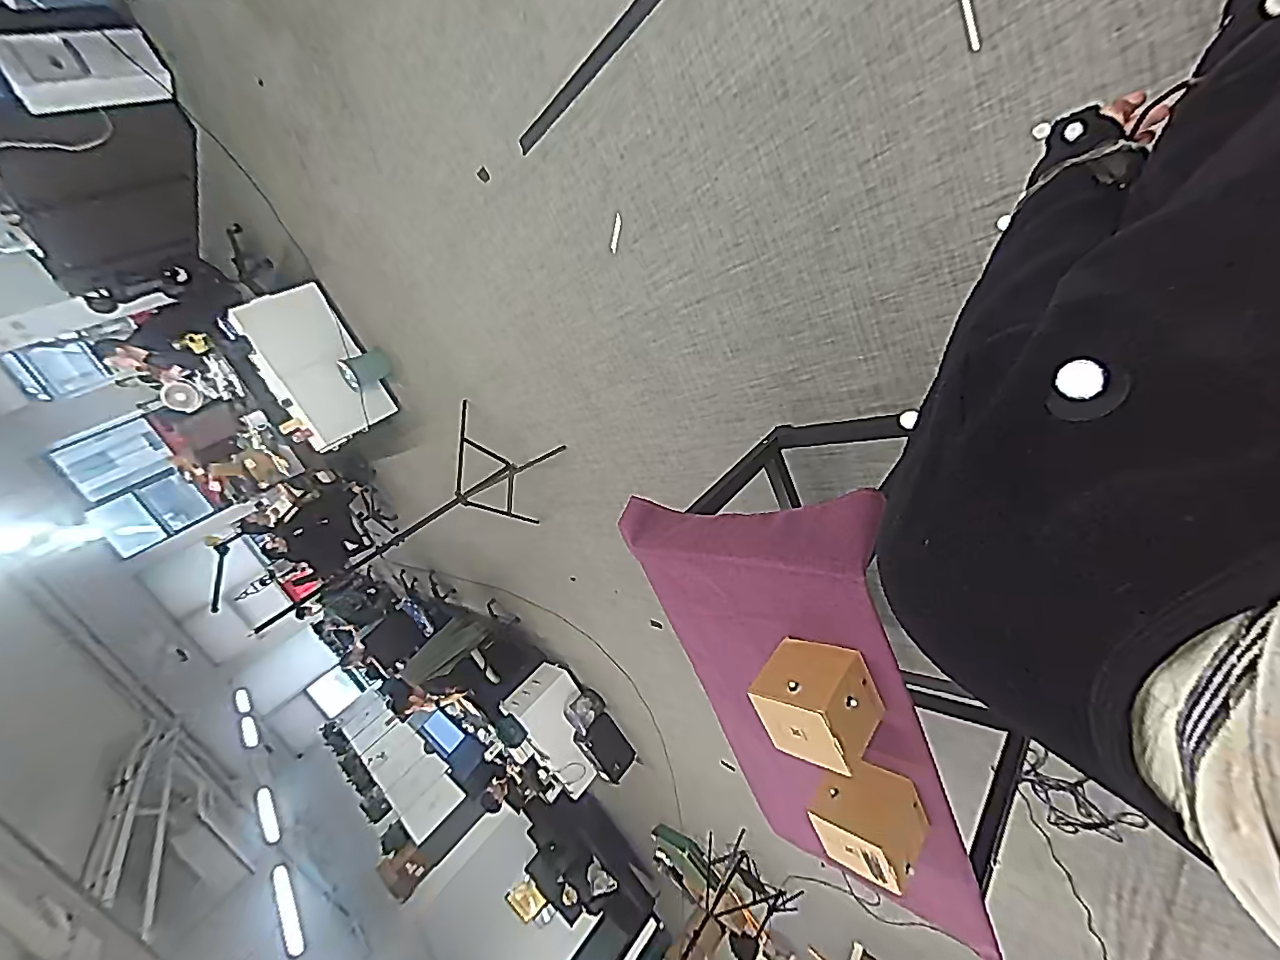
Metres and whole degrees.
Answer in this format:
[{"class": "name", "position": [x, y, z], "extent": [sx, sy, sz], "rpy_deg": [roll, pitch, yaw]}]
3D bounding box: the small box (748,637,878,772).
[{"class": "small box", "position": [0.359, 0.442, 1.097], "extent": [0.179, 0.176, 0.168], "rpy_deg": [-6, 117, 51]}]
